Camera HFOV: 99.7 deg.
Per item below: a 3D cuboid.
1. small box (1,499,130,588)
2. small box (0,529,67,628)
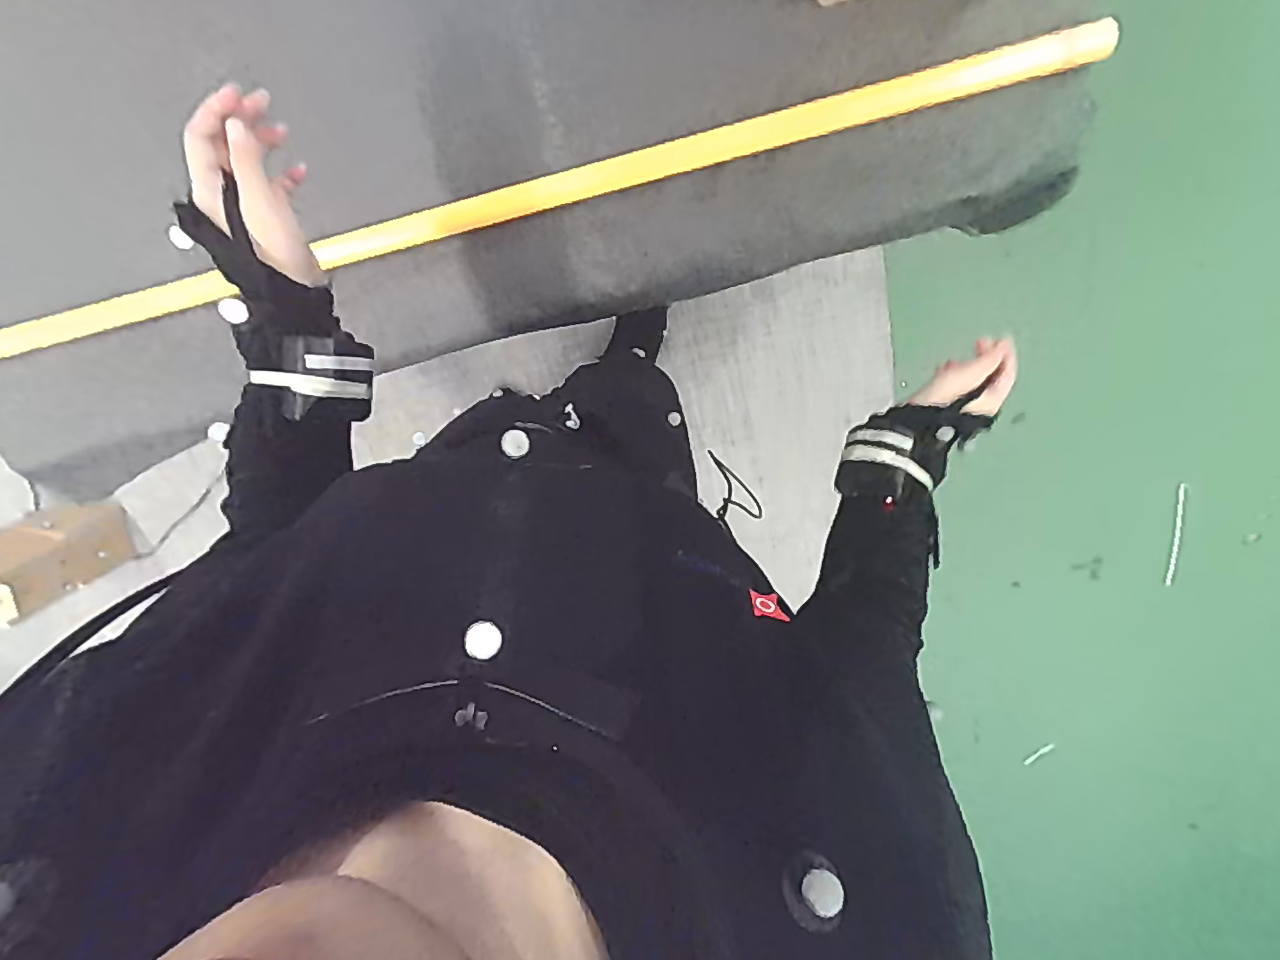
[{"bbox_3d":[-1.601,0.176,1.522,0.168,0.176,0.179,8,114,1],"label":"small box"},{"bbox_3d":[-1.622,0.245,1.373,0.179,0.176,0.168,13,113,-1],"label":"small box"}]
